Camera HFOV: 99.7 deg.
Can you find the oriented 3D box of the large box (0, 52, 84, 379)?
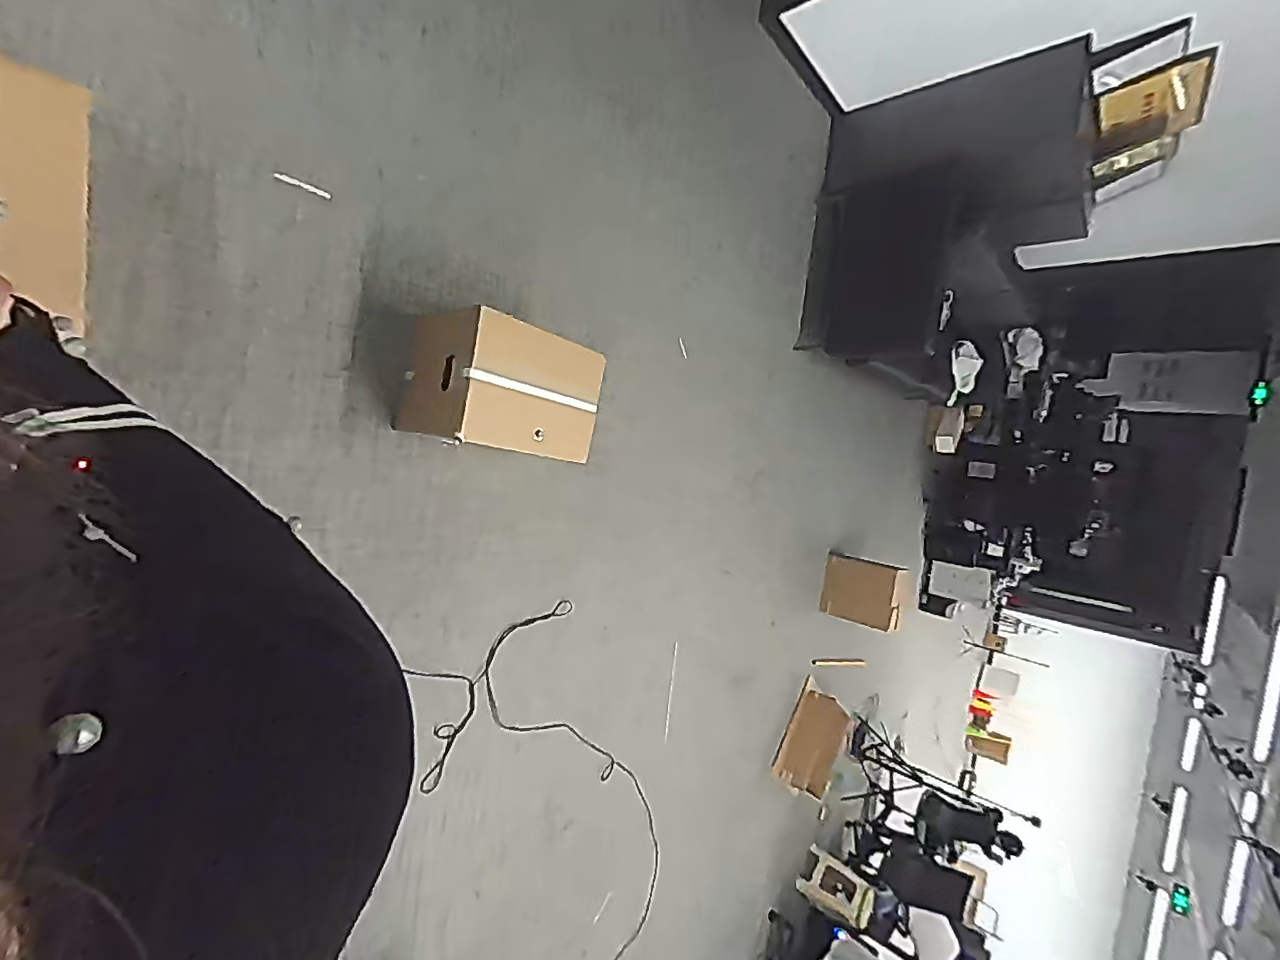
[{"bbox_3d":[-0.983,-0.357,0.731,0.320,0.320,0.408,1,96,-49],"label":"large box"}]
